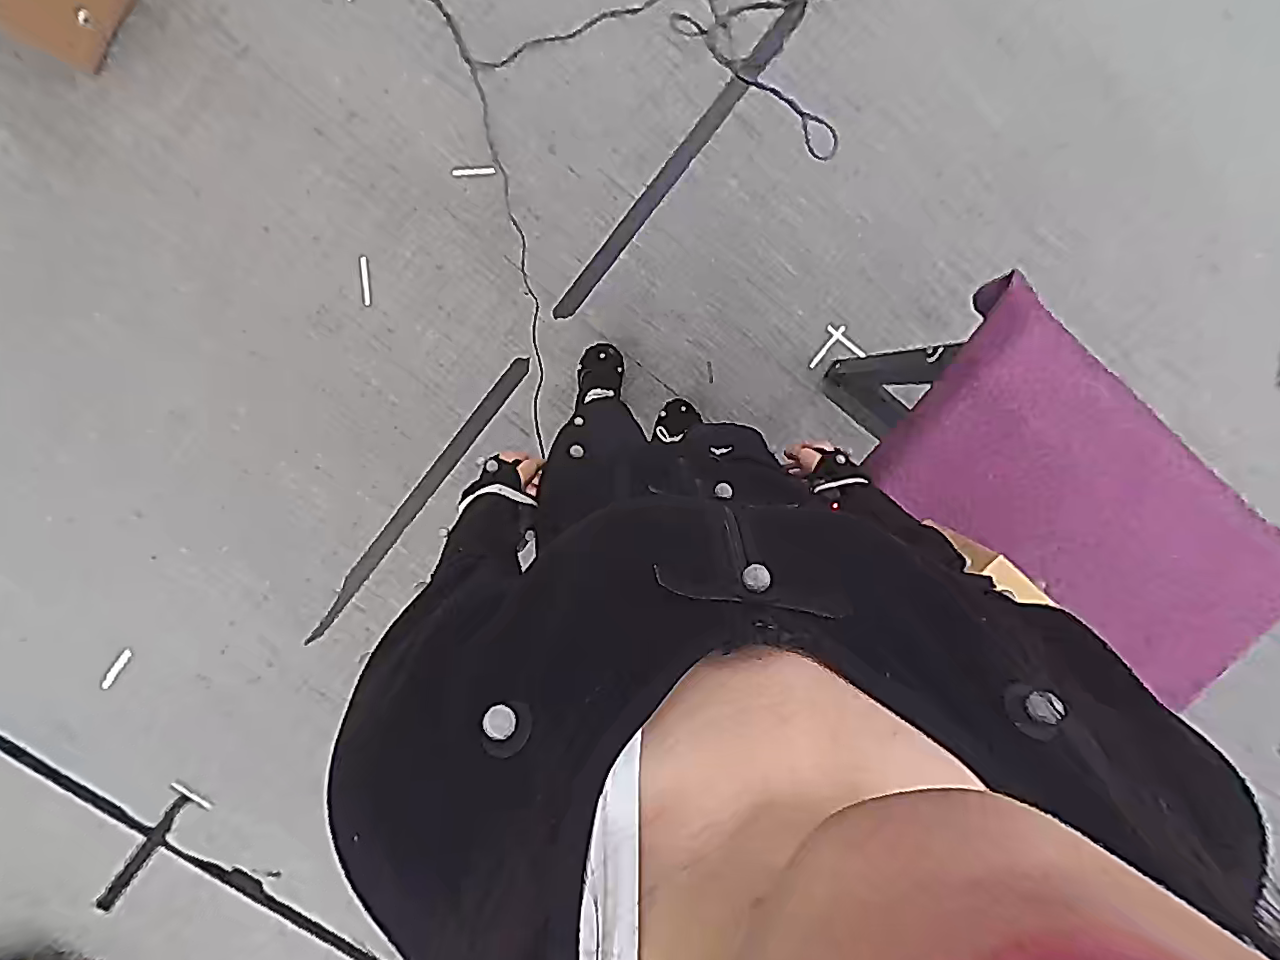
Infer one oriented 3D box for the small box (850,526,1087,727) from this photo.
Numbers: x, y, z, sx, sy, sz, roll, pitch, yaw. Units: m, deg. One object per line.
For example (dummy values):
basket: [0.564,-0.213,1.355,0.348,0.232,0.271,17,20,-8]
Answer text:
small box: [0.422,0.180,0.729,0.179,0.176,0.168,39,97,-8]
